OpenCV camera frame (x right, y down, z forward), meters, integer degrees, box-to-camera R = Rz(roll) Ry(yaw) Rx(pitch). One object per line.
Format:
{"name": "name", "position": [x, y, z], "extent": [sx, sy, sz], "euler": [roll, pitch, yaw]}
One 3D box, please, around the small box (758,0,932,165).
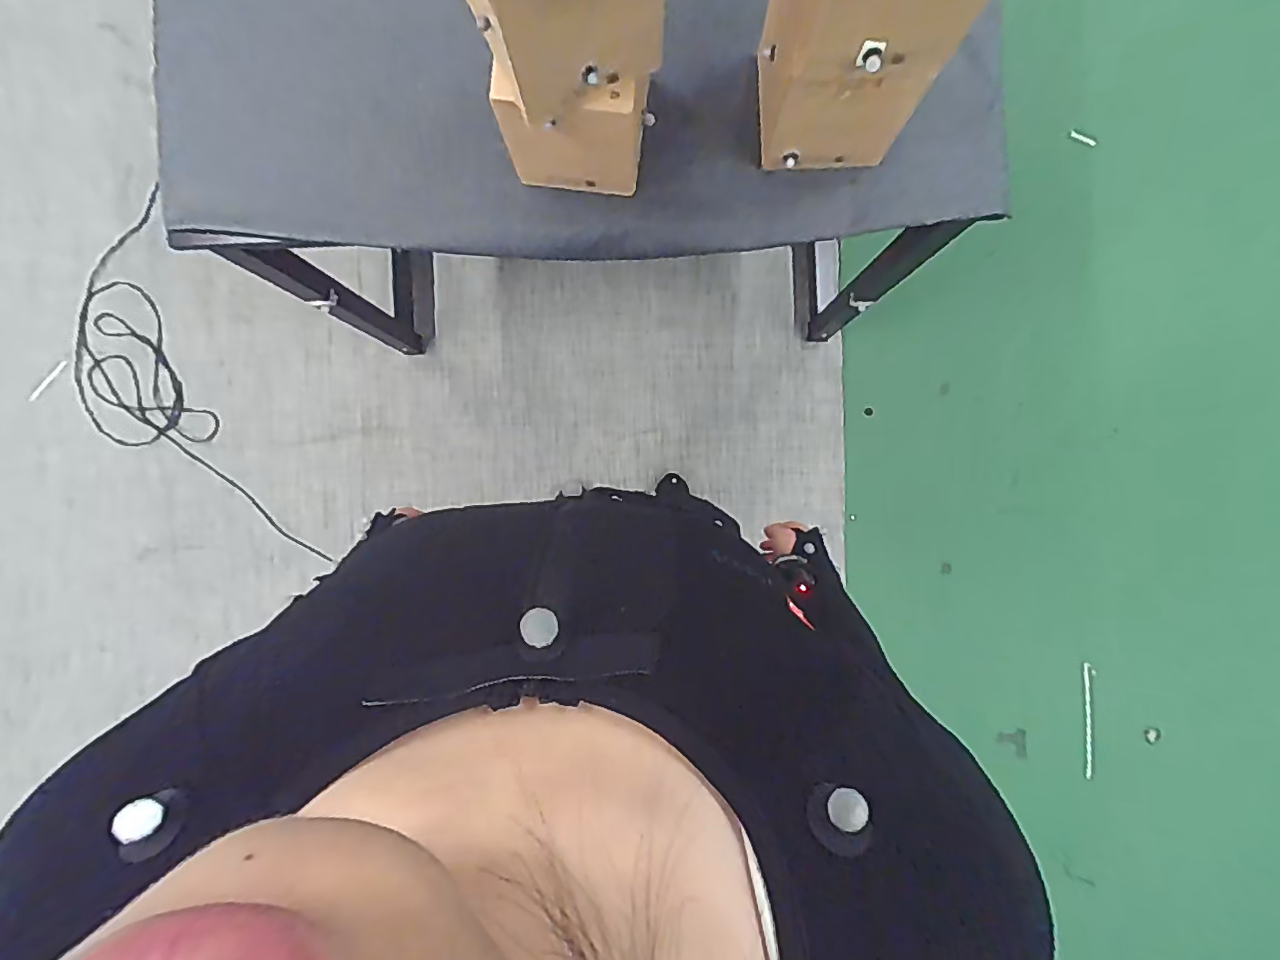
{"name": "small box", "position": [0.249, -0.528, 0.687], "extent": [0.168, 0.176, 0.179], "euler": [-2, 86, 1]}

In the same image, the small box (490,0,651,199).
{"name": "small box", "position": [-0.079, -0.497, 0.691], "extent": [0.168, 0.176, 0.179], "euler": [7, 88, 0]}
